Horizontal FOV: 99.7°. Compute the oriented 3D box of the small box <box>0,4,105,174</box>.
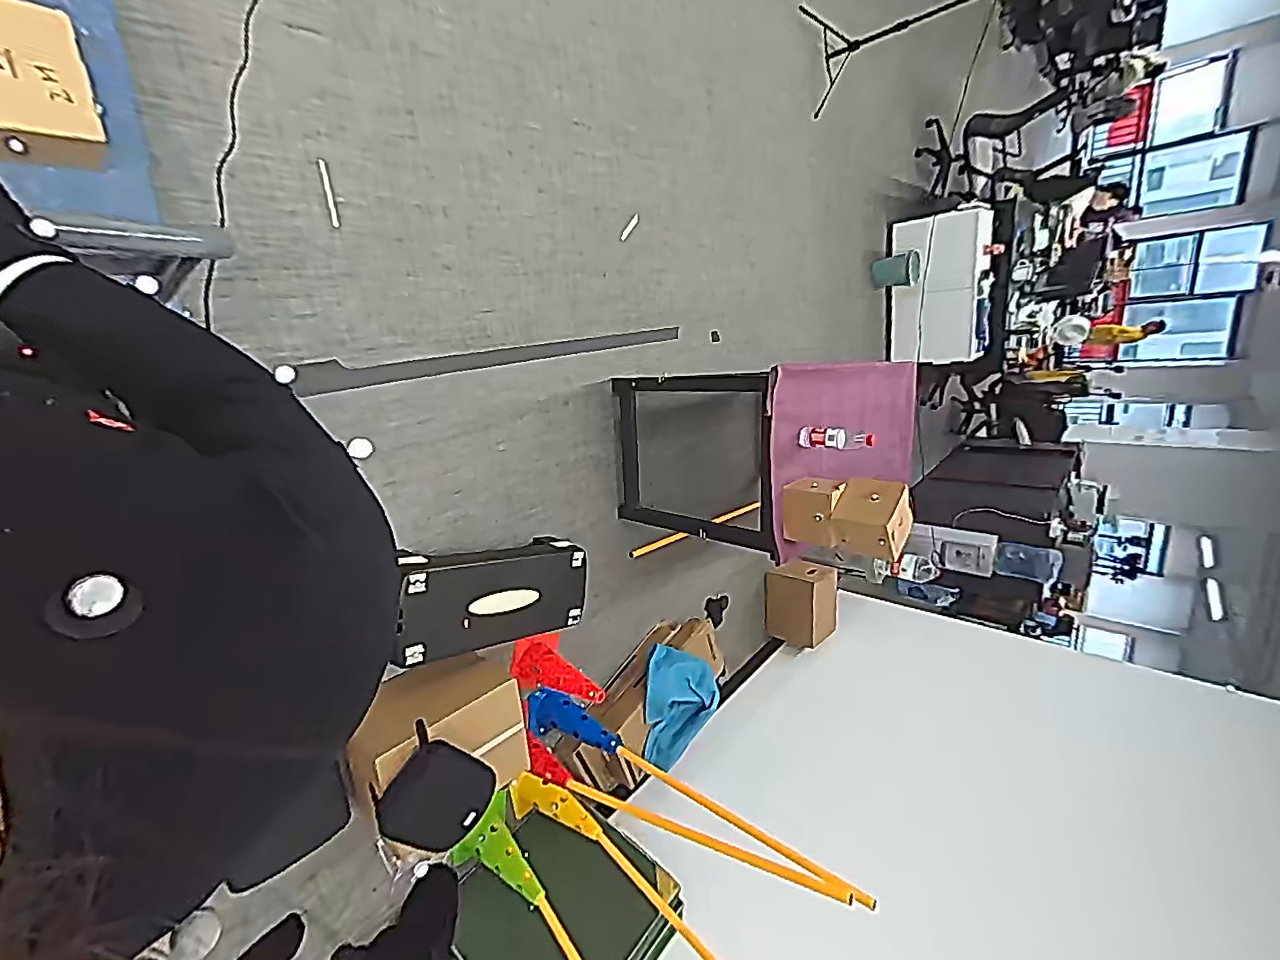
[{"bbox_3d":[-0.925,-0.566,0.788,0.179,0.176,0.168,-20,111,-44],"label":"small box"}]
